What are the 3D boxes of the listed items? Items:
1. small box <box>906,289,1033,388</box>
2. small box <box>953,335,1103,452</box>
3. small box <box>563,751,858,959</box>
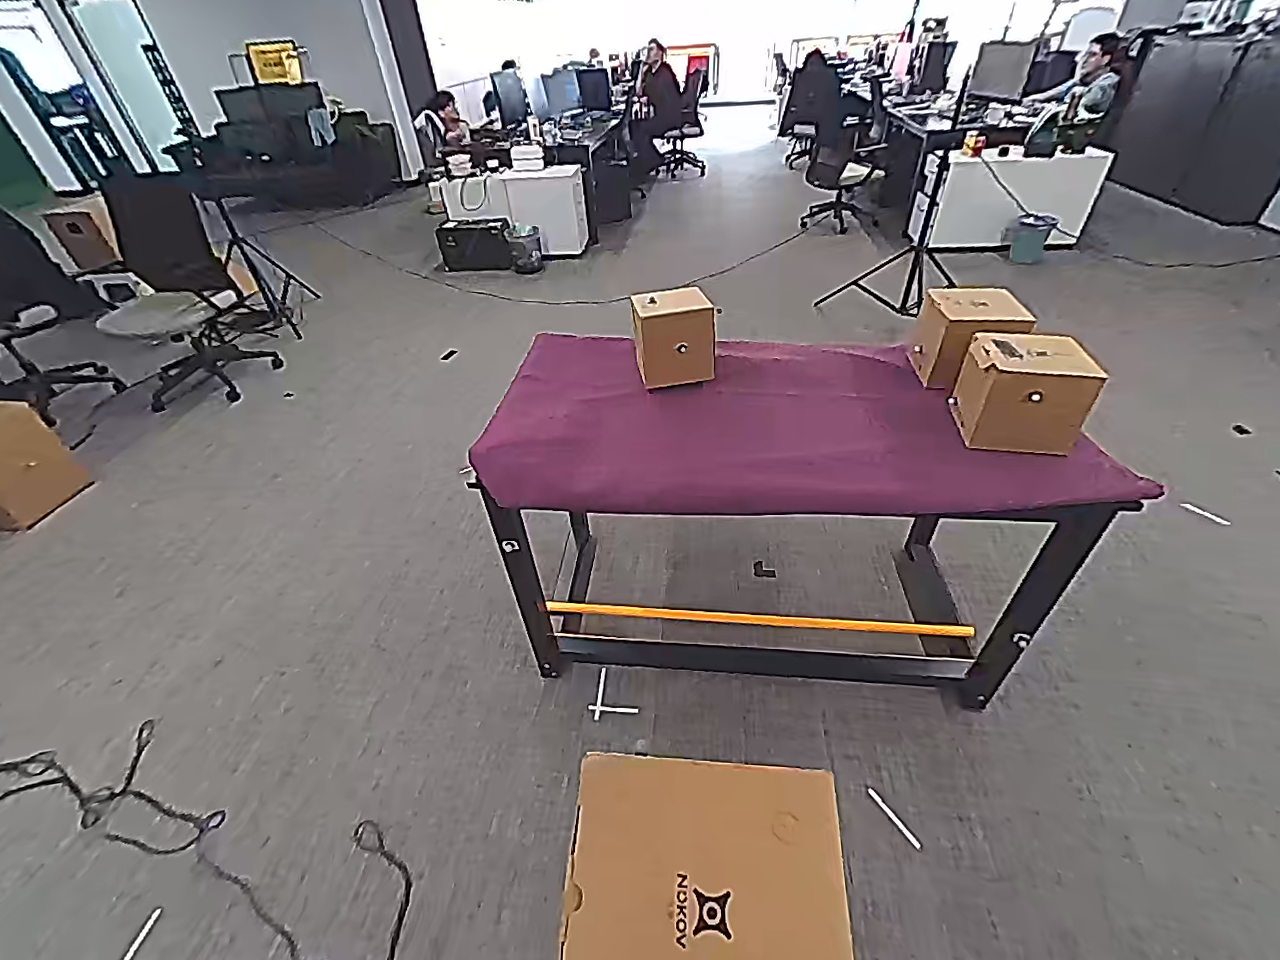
[{"bbox_3d":[0.736,-0.320,1.231,0.179,0.176,0.168,2,41,6],"label":"small box"},{"bbox_3d":[0.732,-0.169,1.050,0.179,0.176,0.168,5,39,11],"label":"small box"},{"bbox_3d":[0.048,0.305,0.397,0.179,0.176,0.168,0,56,6],"label":"small box"}]
